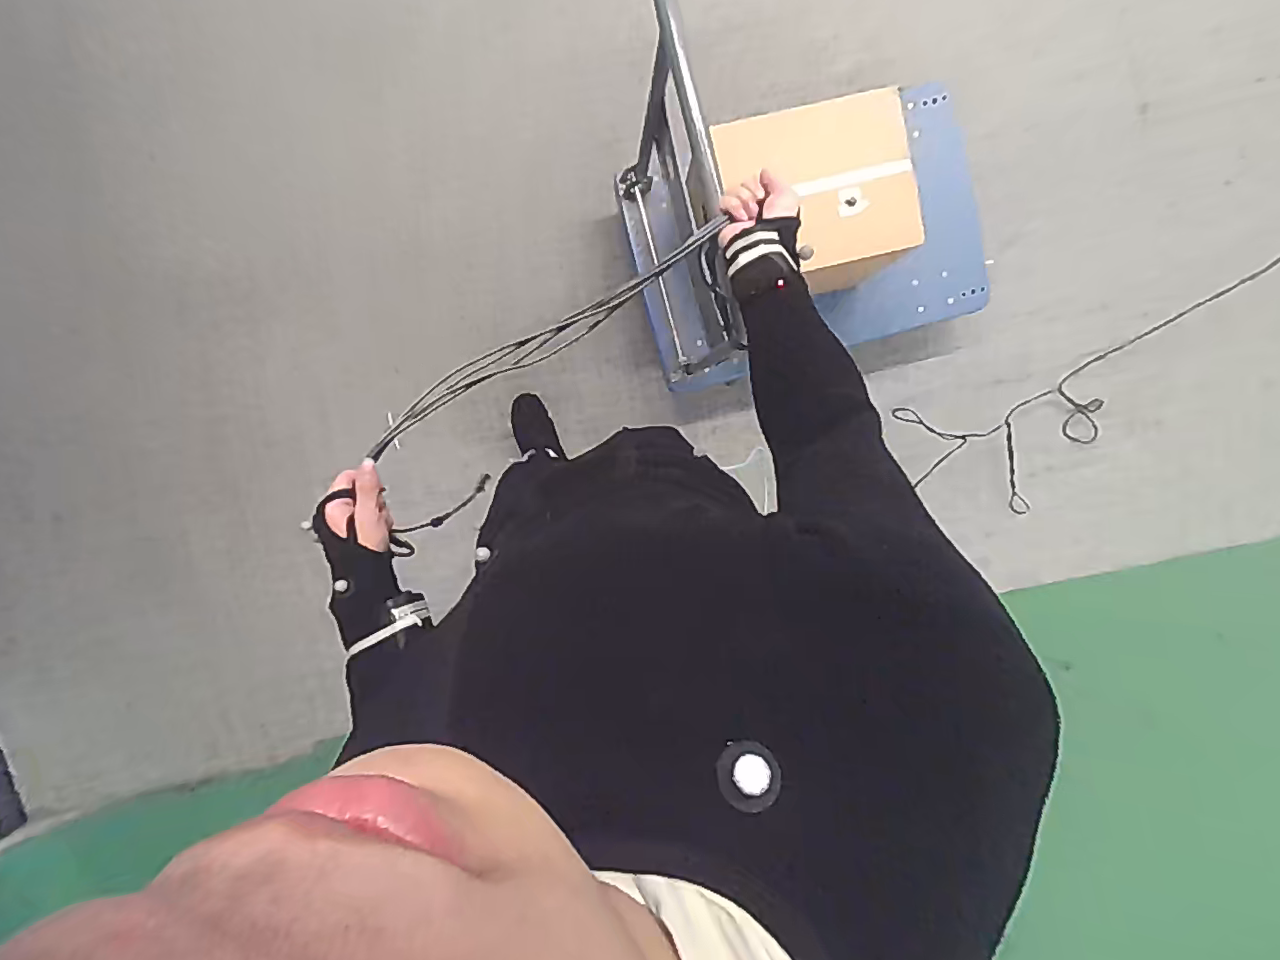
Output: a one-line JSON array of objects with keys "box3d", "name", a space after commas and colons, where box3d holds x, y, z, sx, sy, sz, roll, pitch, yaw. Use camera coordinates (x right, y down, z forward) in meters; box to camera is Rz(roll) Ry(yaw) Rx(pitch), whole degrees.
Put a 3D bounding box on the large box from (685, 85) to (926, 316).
[{"box3d": [0.343, -0.592, 1.213, 0.408, 0.320, 0.320, -13, 97, -1], "name": "large box"}]
